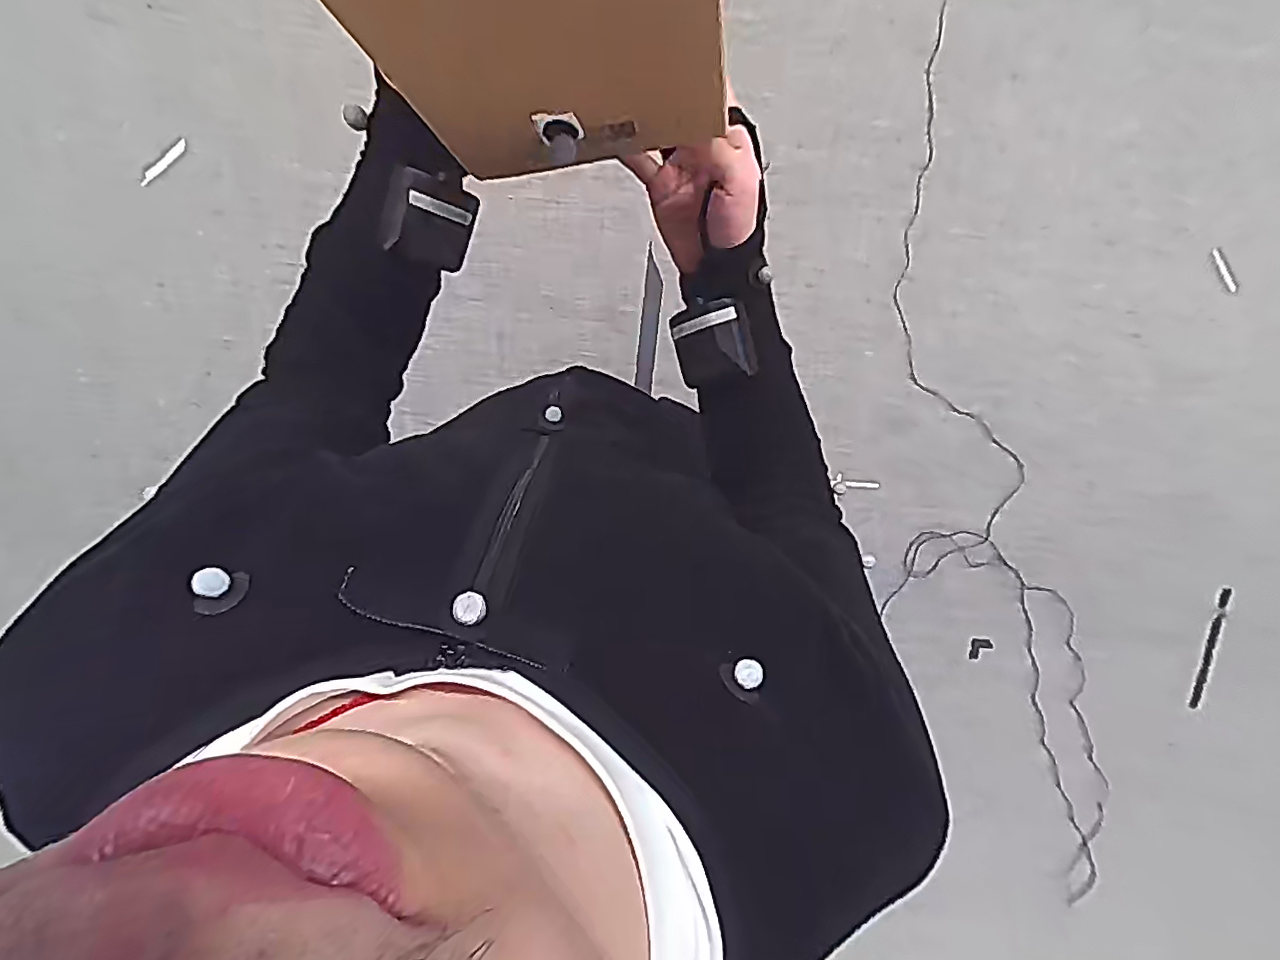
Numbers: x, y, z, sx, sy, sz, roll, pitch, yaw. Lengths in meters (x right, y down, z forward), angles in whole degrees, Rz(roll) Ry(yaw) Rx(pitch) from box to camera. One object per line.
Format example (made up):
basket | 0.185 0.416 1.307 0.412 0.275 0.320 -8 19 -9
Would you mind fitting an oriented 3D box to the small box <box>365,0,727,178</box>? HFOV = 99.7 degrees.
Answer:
small box | -0.046 -0.296 0.276 0.168 0.176 0.179 -6 89 11
